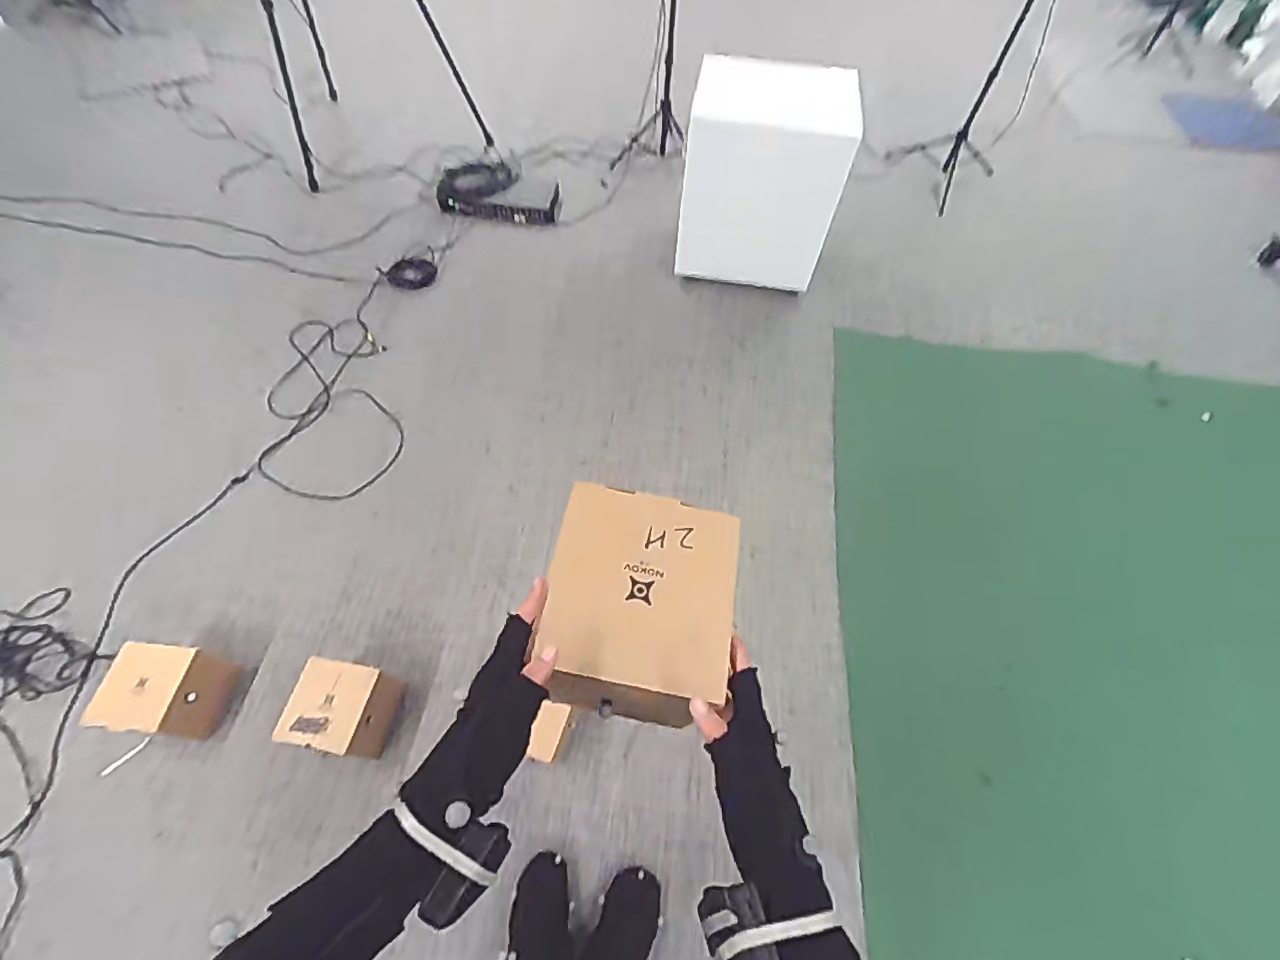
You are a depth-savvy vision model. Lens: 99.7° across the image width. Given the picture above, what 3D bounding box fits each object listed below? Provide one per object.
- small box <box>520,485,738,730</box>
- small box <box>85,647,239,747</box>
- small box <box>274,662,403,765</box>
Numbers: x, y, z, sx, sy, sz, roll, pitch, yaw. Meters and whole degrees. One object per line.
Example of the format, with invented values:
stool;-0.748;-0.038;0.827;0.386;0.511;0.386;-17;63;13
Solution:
small box;-0.011;0.134;0.536;0.168;0.176;0.179;13;57;-2
small box;-1.066;0.496;1.230;0.168;0.176;0.179;5;59;2
small box;-0.665;0.532;1.220;0.168;0.176;0.179;10;58;4
